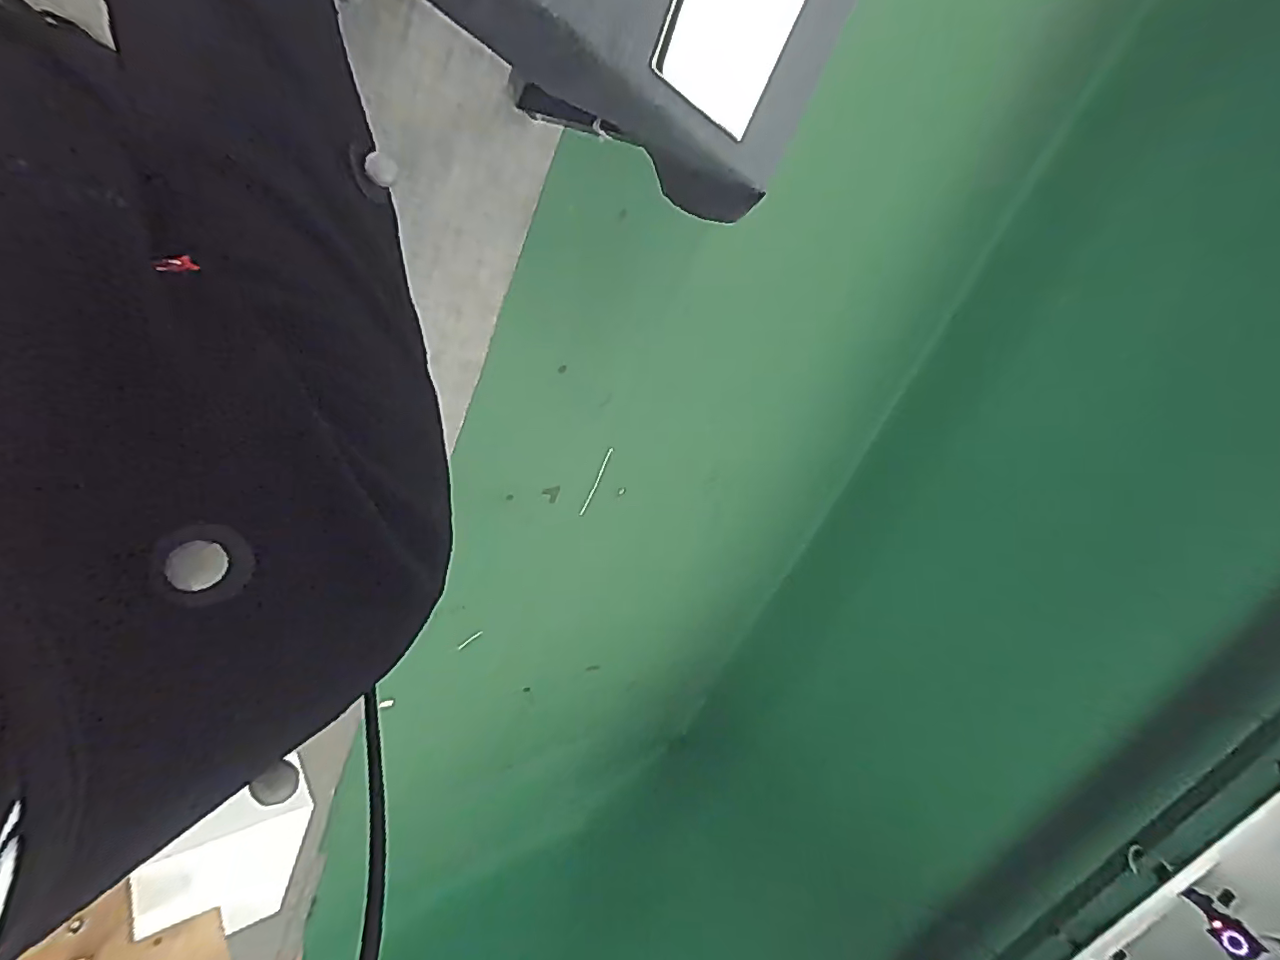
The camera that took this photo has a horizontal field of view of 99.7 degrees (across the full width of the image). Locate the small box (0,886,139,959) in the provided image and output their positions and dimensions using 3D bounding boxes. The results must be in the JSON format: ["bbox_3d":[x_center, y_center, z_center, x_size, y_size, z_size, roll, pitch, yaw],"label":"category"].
[{"bbox_3d":[-0.941,0.823,0.882,0.168,0.176,0.179,4,118,-49],"label":"small box"}]
